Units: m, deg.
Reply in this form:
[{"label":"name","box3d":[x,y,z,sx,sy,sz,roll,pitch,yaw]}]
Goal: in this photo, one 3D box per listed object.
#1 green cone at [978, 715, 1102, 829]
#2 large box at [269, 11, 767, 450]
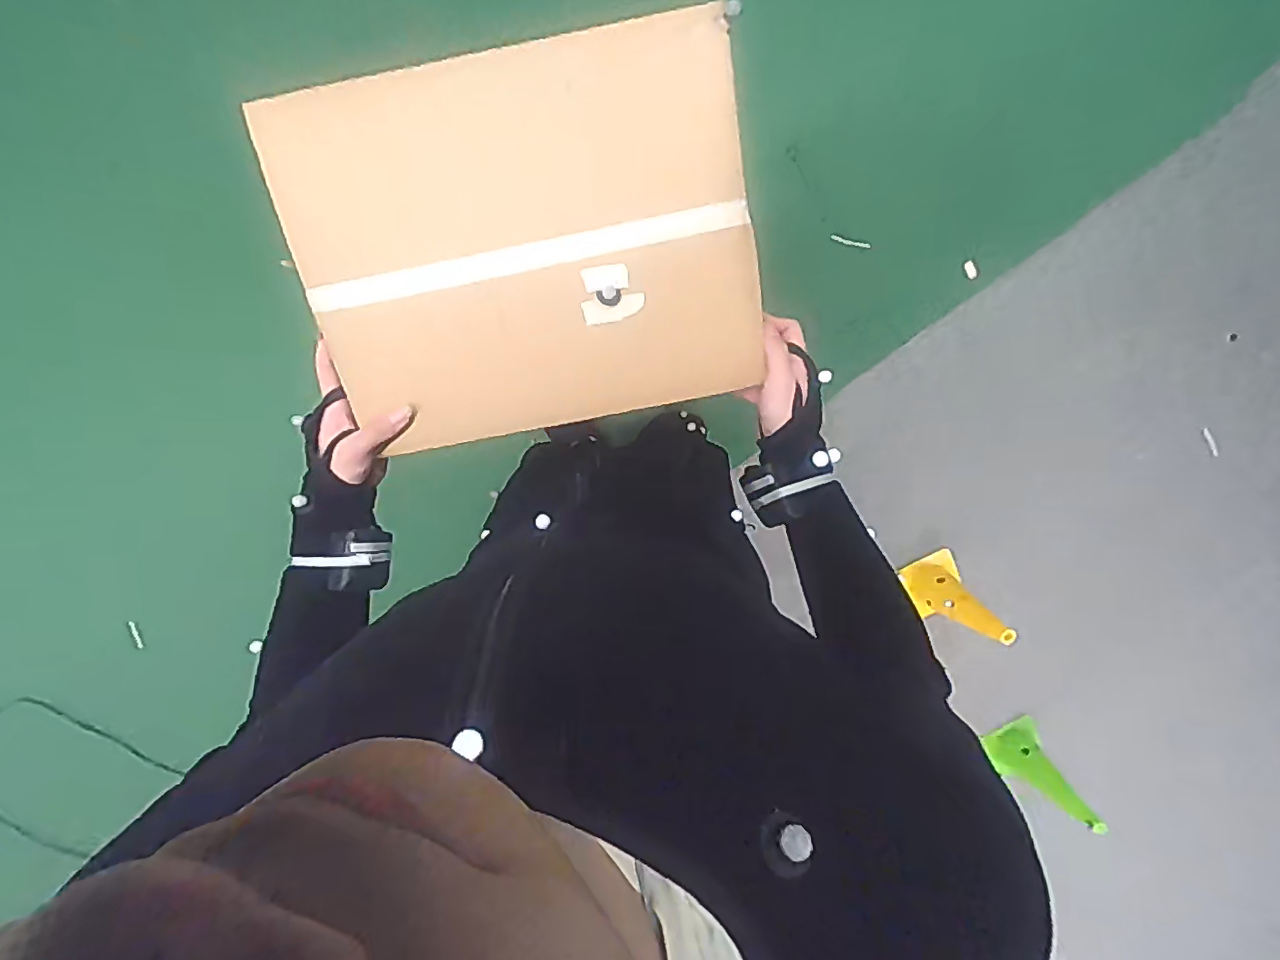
[{"label":"green cone","box3d":[1.356,0.999,1.791,0.200,0.368,0.202,-30,102,2]},{"label":"large box","box3d":[-0.101,-0.252,0.637,0.408,0.320,0.320,-10,109,1]}]
